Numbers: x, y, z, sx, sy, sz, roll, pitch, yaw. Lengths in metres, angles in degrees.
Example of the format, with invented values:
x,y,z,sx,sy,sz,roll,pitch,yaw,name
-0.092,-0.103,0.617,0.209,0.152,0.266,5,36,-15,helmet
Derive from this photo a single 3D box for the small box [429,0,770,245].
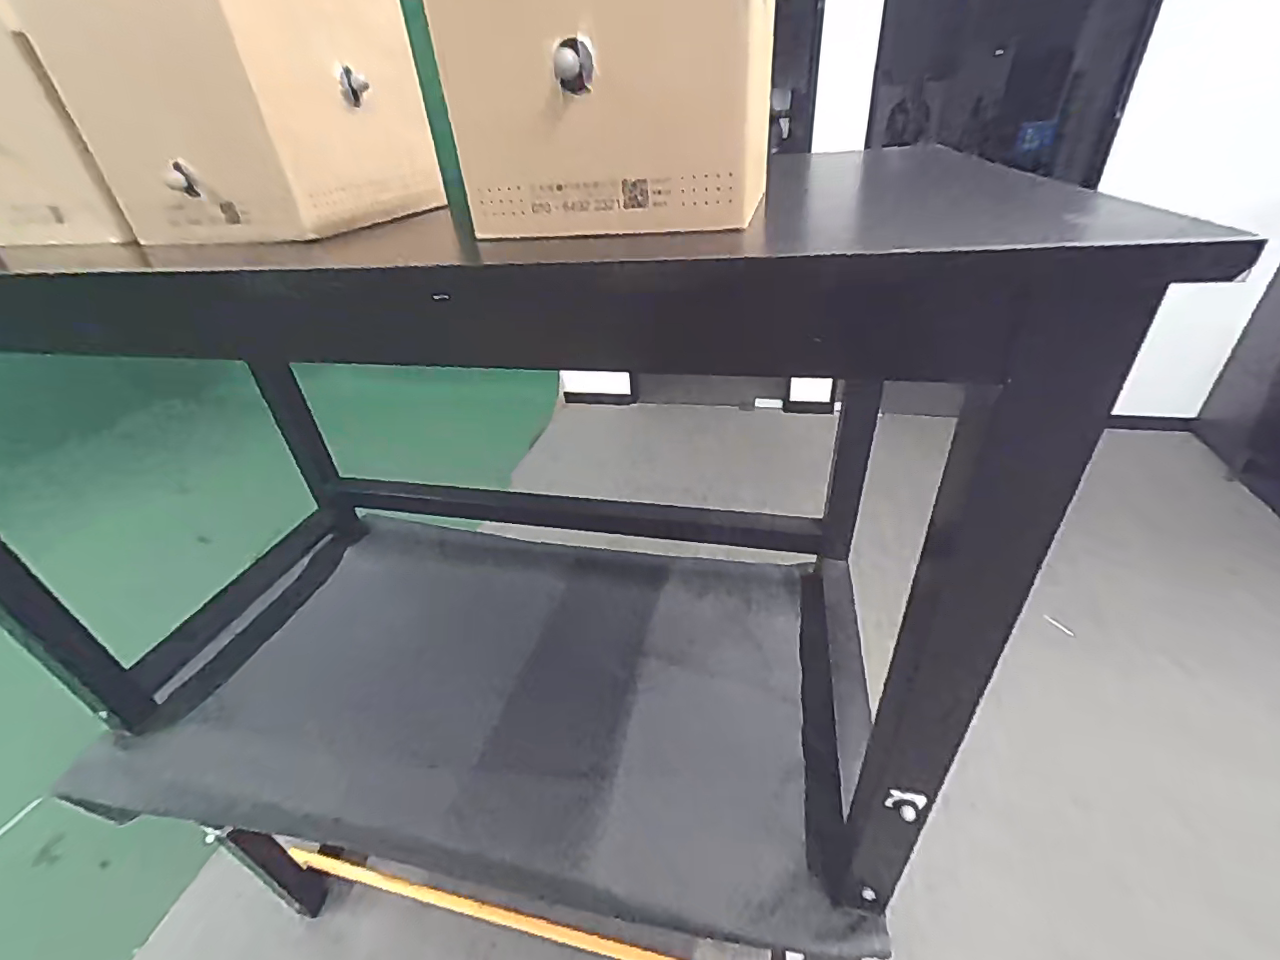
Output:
x,y,z,sx,sy,sz,roll,pitch,yaw,name
-0.007,-0.251,0.341,0.168,0.176,0.179,5,34,14,small box

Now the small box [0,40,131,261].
x,y,z,sx,sy,sz,roll,pitch,yaw,name
-0.661,-0.314,0.524,0.168,0.176,0.179,5,36,15,small box
